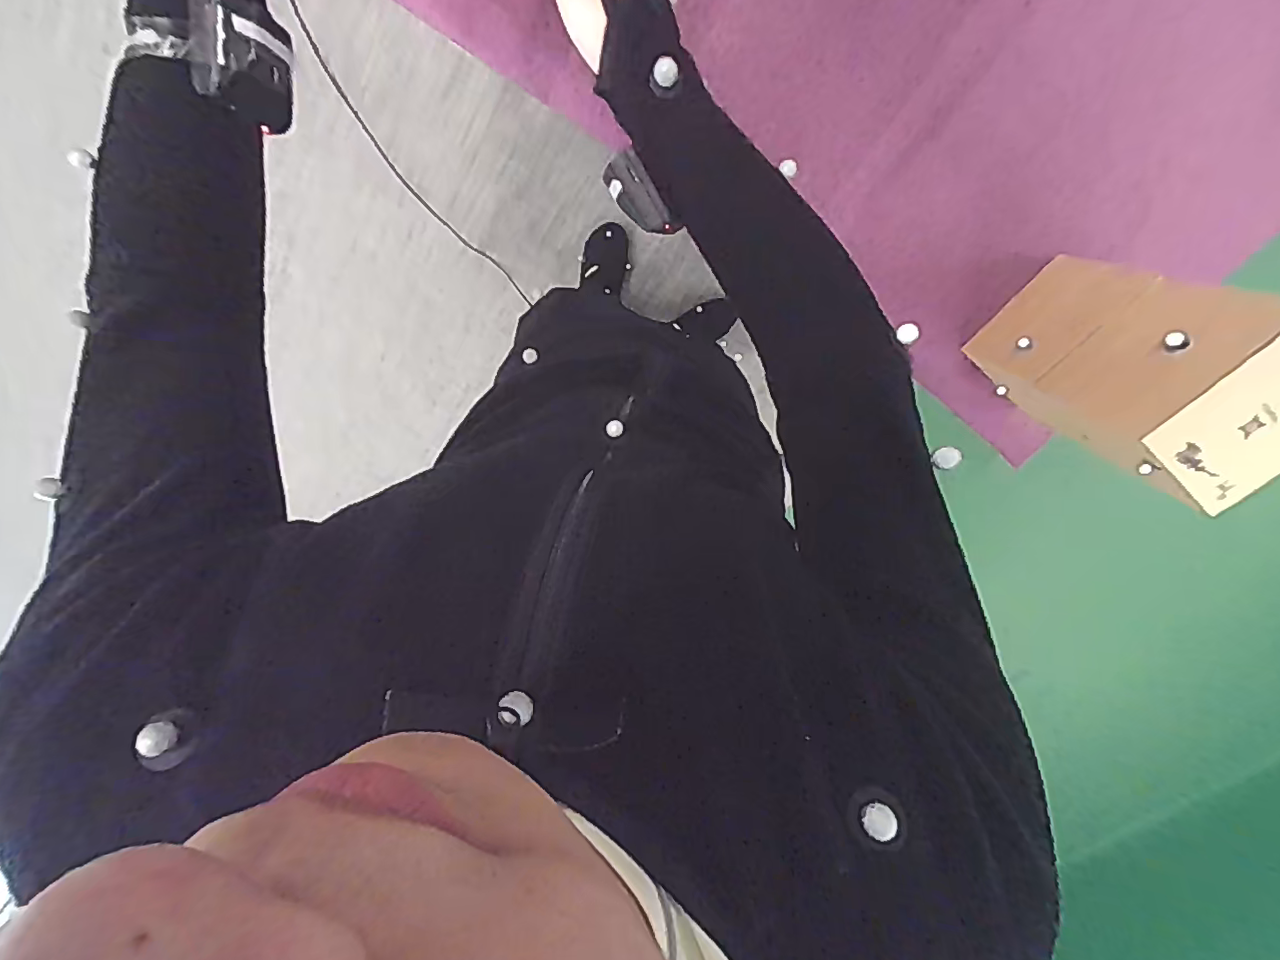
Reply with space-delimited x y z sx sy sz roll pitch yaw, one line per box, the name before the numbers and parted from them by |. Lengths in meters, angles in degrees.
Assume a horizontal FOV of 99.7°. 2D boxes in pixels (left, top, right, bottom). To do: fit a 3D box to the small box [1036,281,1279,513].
small box | 0.620 -0.103 0.620 0.168 0.176 0.179 33 112 -19
